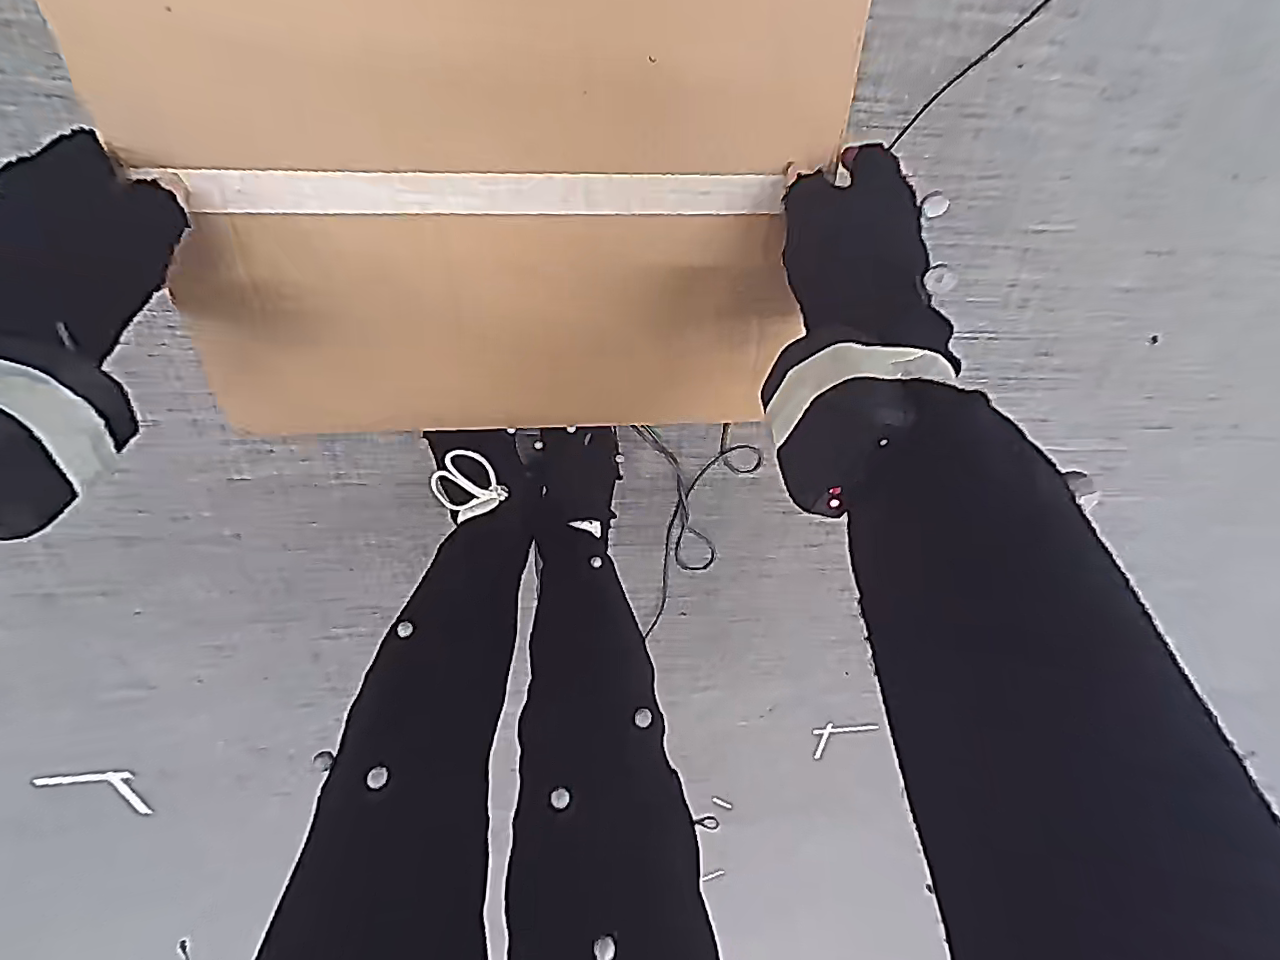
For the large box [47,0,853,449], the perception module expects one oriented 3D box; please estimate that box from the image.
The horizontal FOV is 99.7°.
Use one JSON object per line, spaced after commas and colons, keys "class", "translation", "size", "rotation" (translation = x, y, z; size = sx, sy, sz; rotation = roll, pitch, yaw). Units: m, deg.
{"class": "large box", "translation": [-0.098, -0.243, 0.449], "size": [0.408, 0.320, 0.320], "rotation": [-2, 124, -5]}
